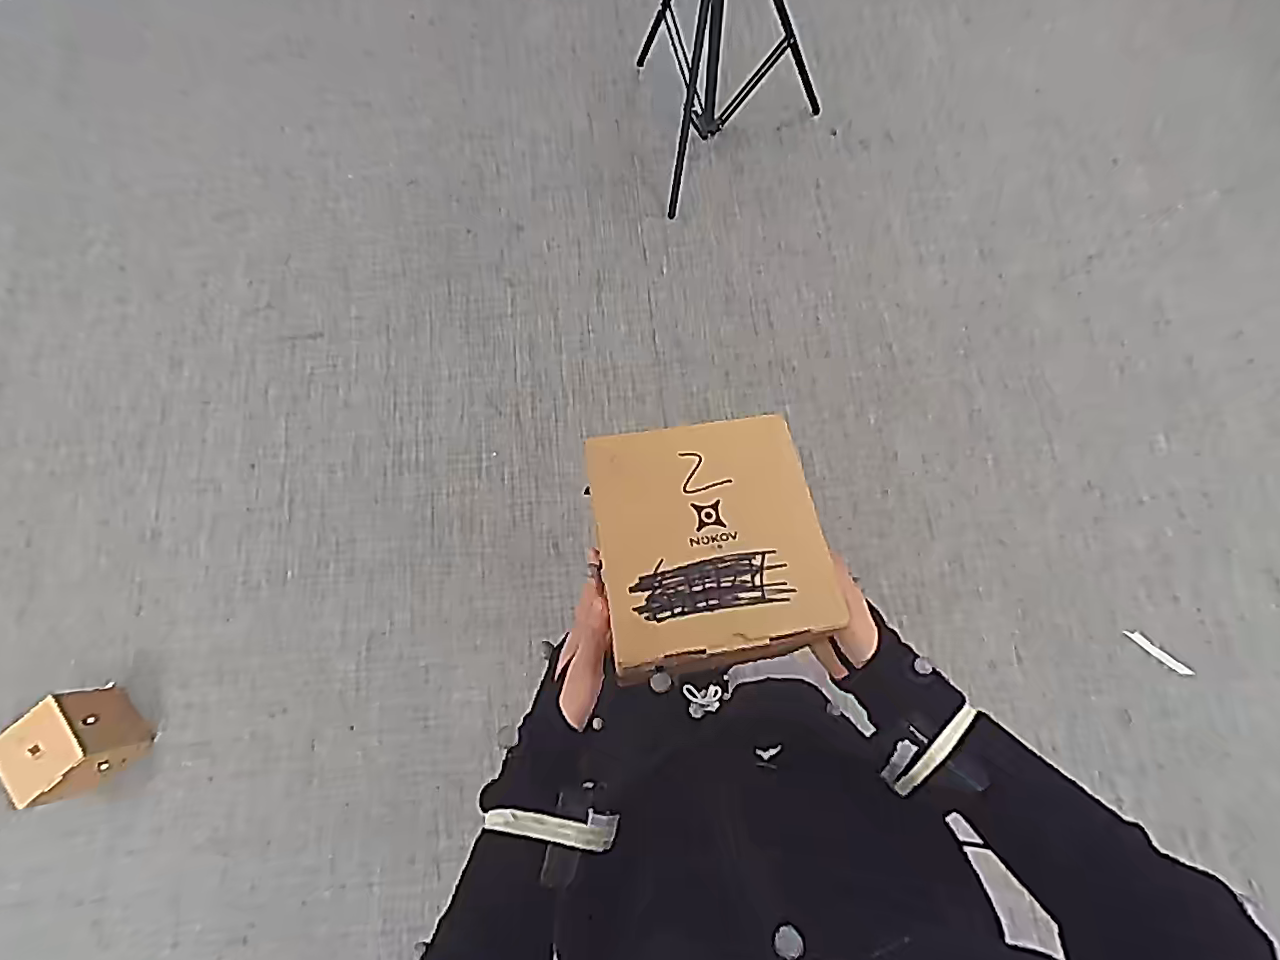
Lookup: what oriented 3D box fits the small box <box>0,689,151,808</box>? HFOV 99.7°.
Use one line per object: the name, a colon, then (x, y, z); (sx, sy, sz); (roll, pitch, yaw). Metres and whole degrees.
small box: (-1.321, 0.617, 1.270); (0.168, 0.176, 0.179); (-43, 76, -8)
